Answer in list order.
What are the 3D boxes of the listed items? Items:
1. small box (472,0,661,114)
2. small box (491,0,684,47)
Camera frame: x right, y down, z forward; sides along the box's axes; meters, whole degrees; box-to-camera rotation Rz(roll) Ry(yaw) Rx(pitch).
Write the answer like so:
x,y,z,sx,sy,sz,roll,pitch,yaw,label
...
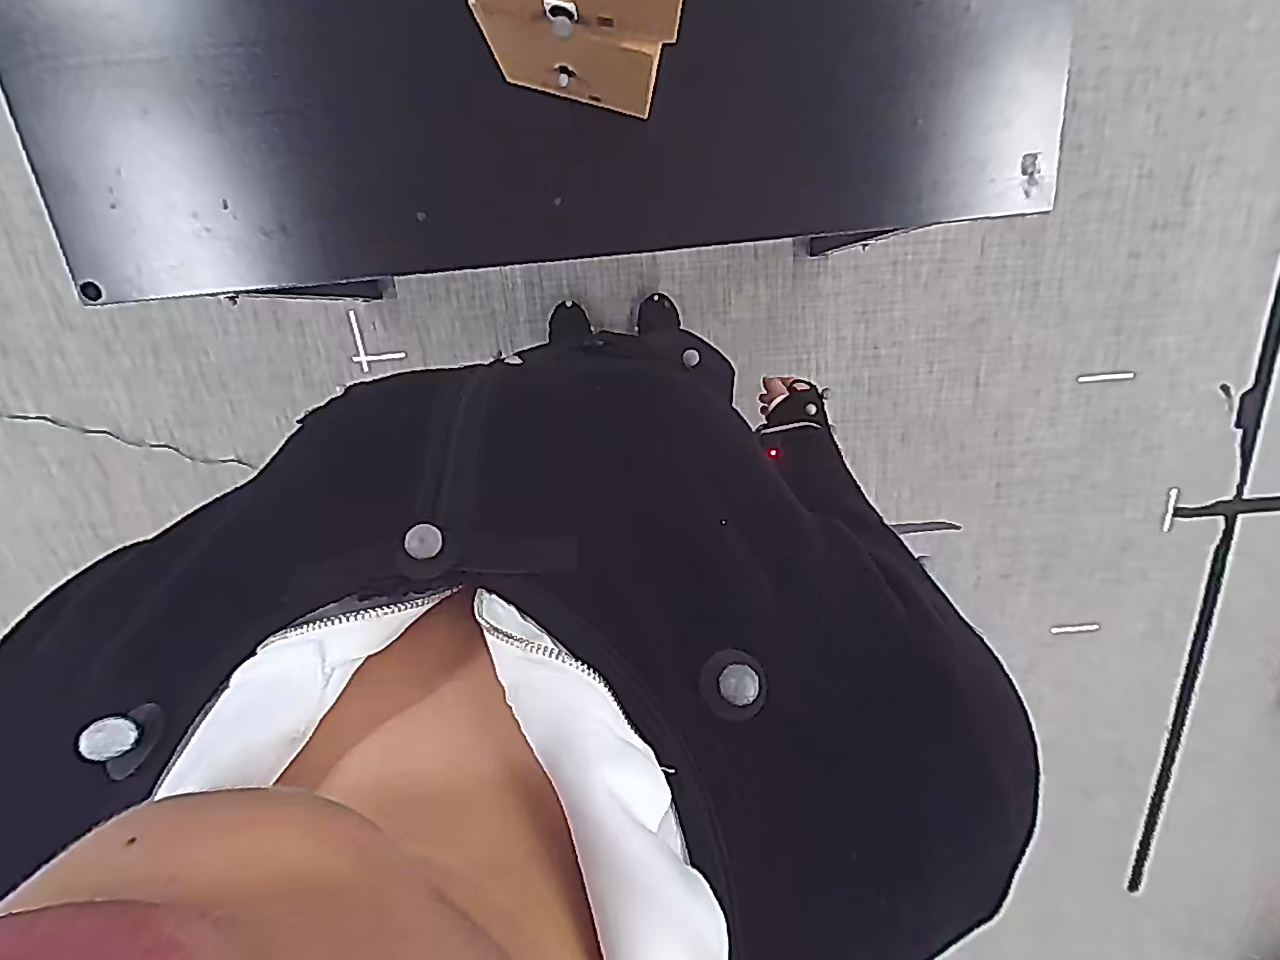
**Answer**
x,y,z,sx,sy,sz,roll,pitch,yaw,label
-0.051,-0.497,0.529,0.168,0.176,0.179,12,106,-6,small box
-0.041,-0.448,0.375,0.168,0.176,0.179,3,108,-2,small box
